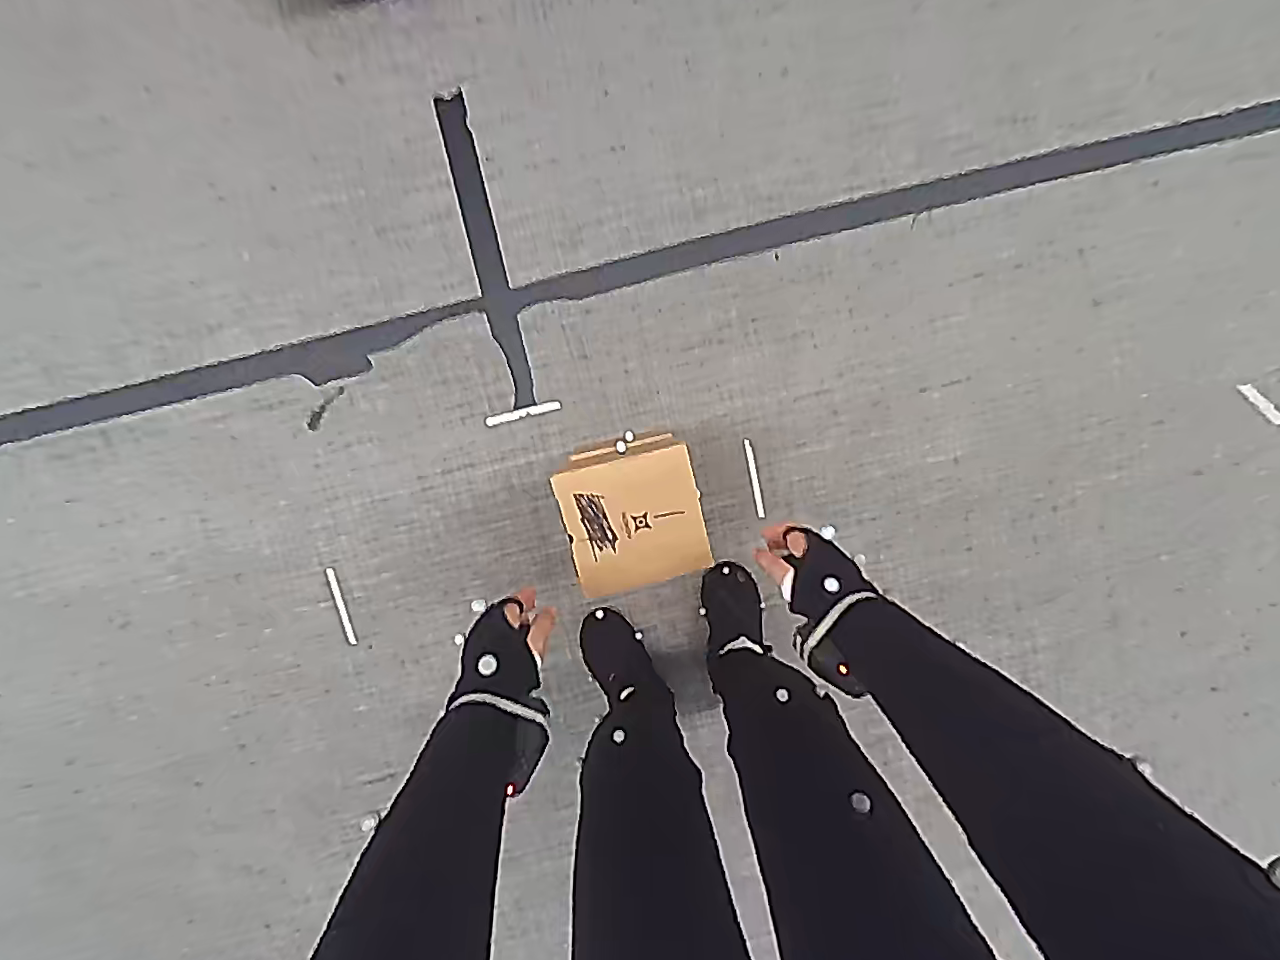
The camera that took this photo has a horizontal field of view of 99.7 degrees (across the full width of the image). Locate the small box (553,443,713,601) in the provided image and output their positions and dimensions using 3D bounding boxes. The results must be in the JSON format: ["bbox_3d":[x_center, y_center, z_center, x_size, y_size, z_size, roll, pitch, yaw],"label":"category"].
[{"bbox_3d":[-0.011,0.049,0.759,0.179,0.176,0.168,-14,99,-2],"label":"small box"}]

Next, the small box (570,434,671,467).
[{"bbox_3d":[-0.017,0.026,0.923,0.168,0.176,0.179,-12,99,-2],"label":"small box"}]
